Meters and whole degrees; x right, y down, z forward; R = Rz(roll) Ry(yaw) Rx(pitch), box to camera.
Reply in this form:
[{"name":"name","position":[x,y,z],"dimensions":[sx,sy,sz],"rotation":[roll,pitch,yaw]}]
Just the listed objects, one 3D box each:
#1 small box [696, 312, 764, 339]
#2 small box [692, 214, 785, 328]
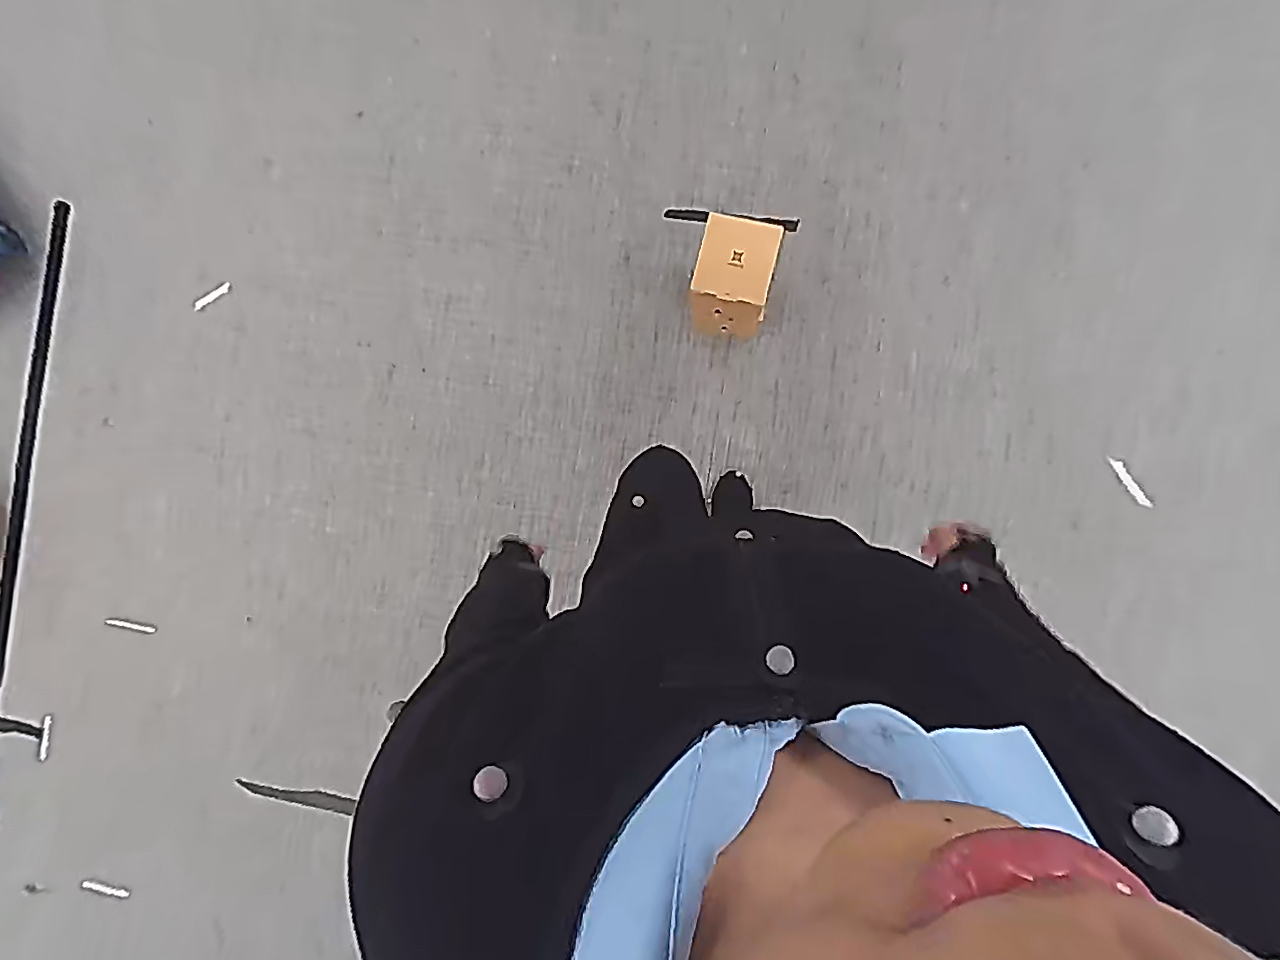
[{"name":"small box","position":[0.236,-0.474,1.399],"dimensions":[0.168,0.176,0.179],"rotation":[8,90,4]},{"name":"small box","position":[0.216,-0.470,1.237],"dimensions":[0.168,0.176,0.179],"rotation":[14,92,5]}]
